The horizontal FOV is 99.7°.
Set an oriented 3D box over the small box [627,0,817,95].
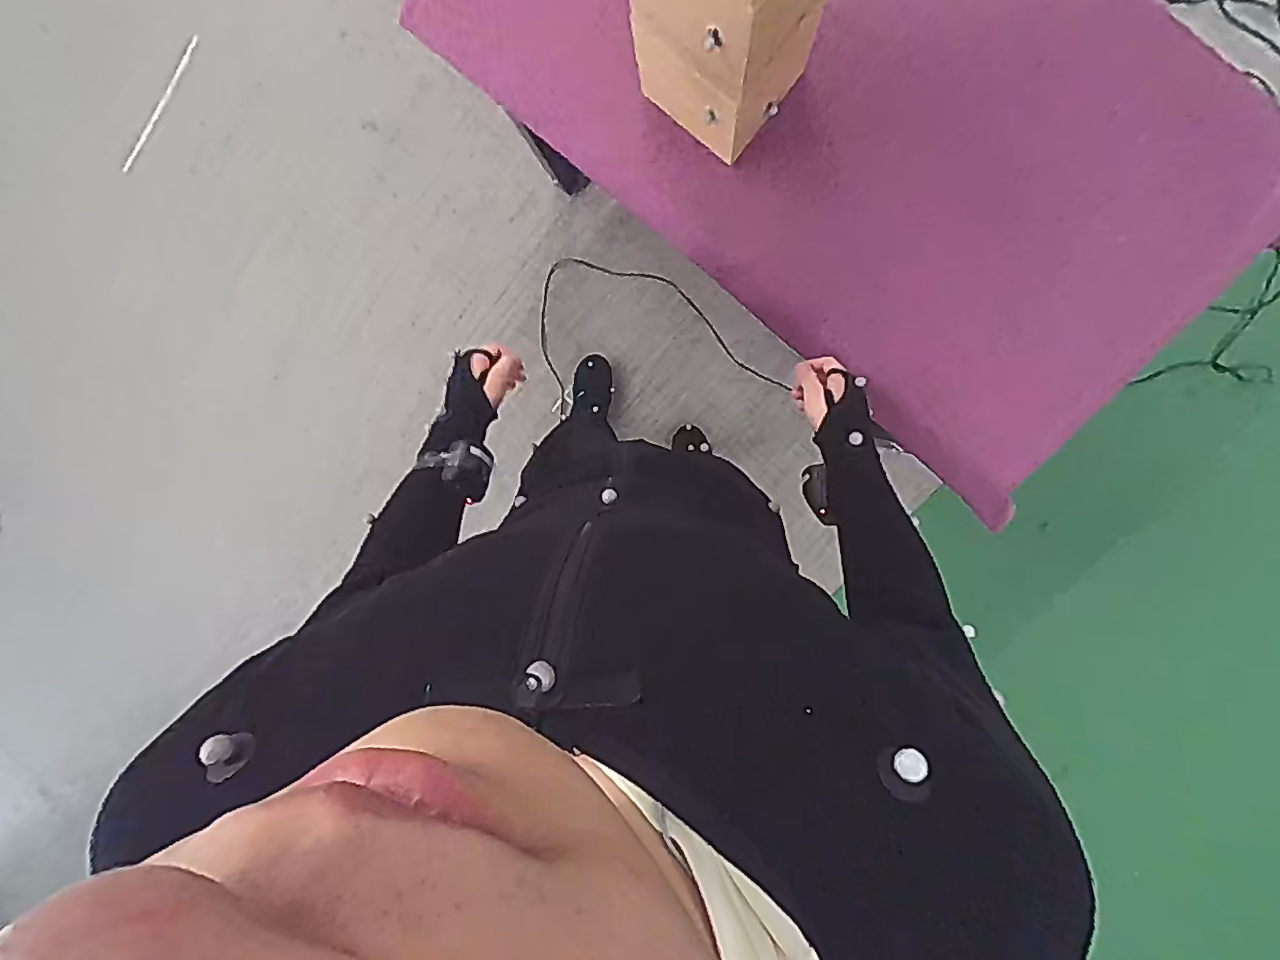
[{"bbox_3d":[0.095,-0.556,0.568,0.179,0.176,0.168,40,99,0],"label":"small box"}]
